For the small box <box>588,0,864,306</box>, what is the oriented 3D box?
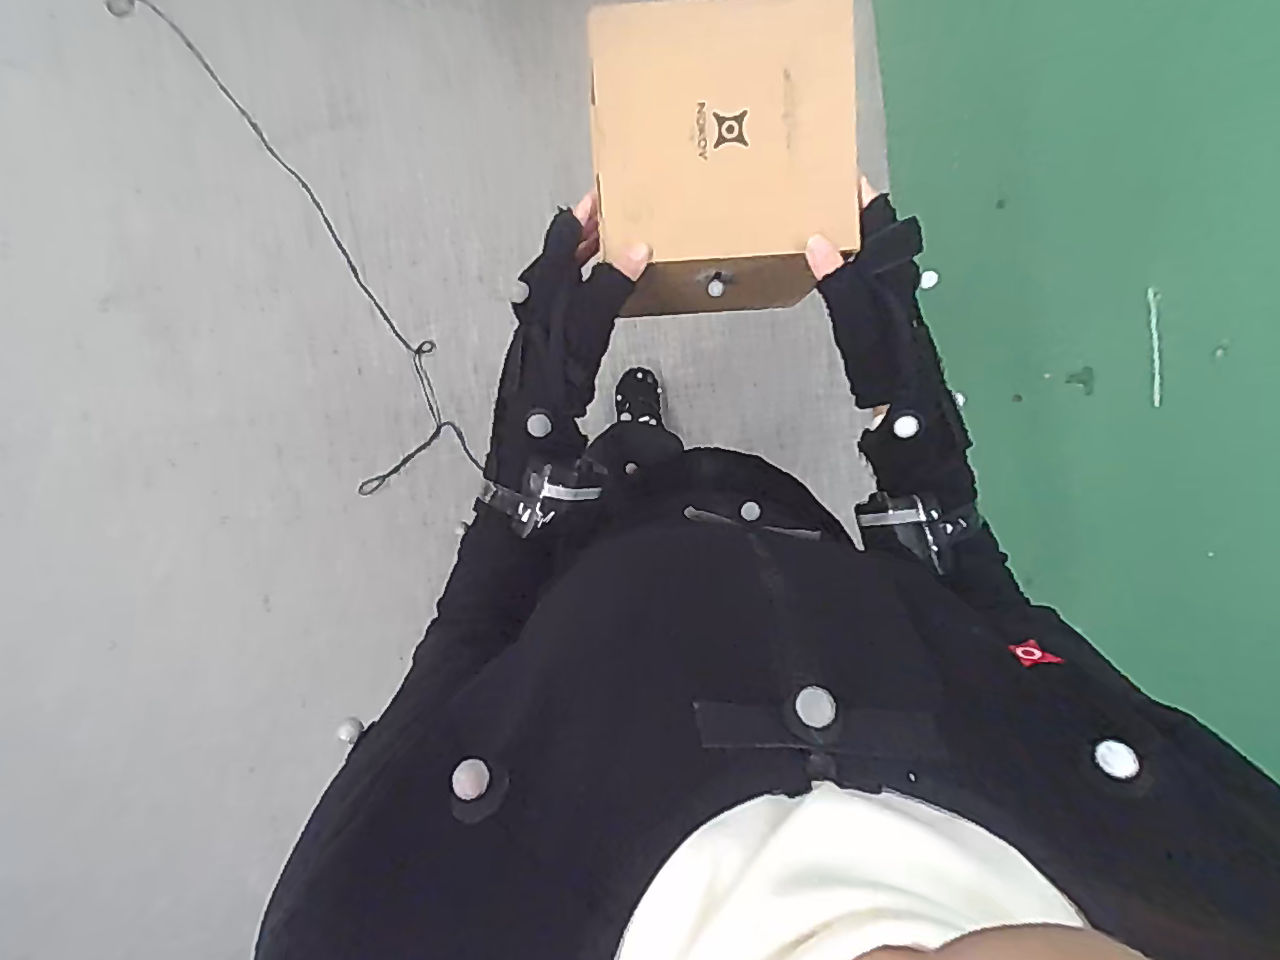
[{"bbox_3d":[0.060,-0.245,0.436,0.179,0.176,0.168,-5,96,1],"label":"small box"}]
